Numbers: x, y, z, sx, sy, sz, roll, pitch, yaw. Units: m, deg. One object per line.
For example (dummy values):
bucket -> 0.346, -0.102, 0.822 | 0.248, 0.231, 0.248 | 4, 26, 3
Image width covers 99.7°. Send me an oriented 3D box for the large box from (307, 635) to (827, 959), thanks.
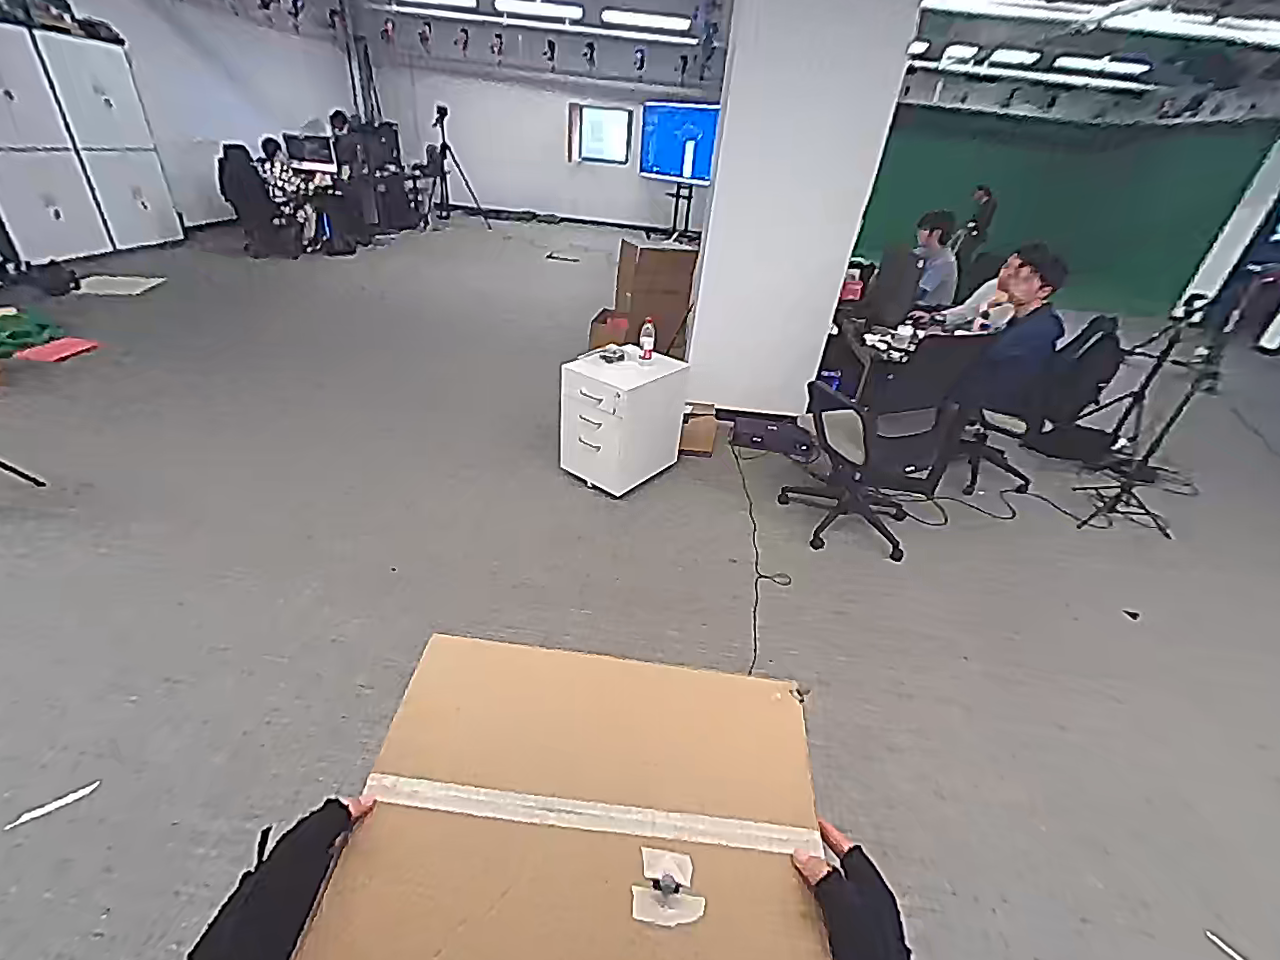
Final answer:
large box -> -0.058, 0.408, 0.590 | 0.408, 0.320, 0.320 | 8, 42, -1
